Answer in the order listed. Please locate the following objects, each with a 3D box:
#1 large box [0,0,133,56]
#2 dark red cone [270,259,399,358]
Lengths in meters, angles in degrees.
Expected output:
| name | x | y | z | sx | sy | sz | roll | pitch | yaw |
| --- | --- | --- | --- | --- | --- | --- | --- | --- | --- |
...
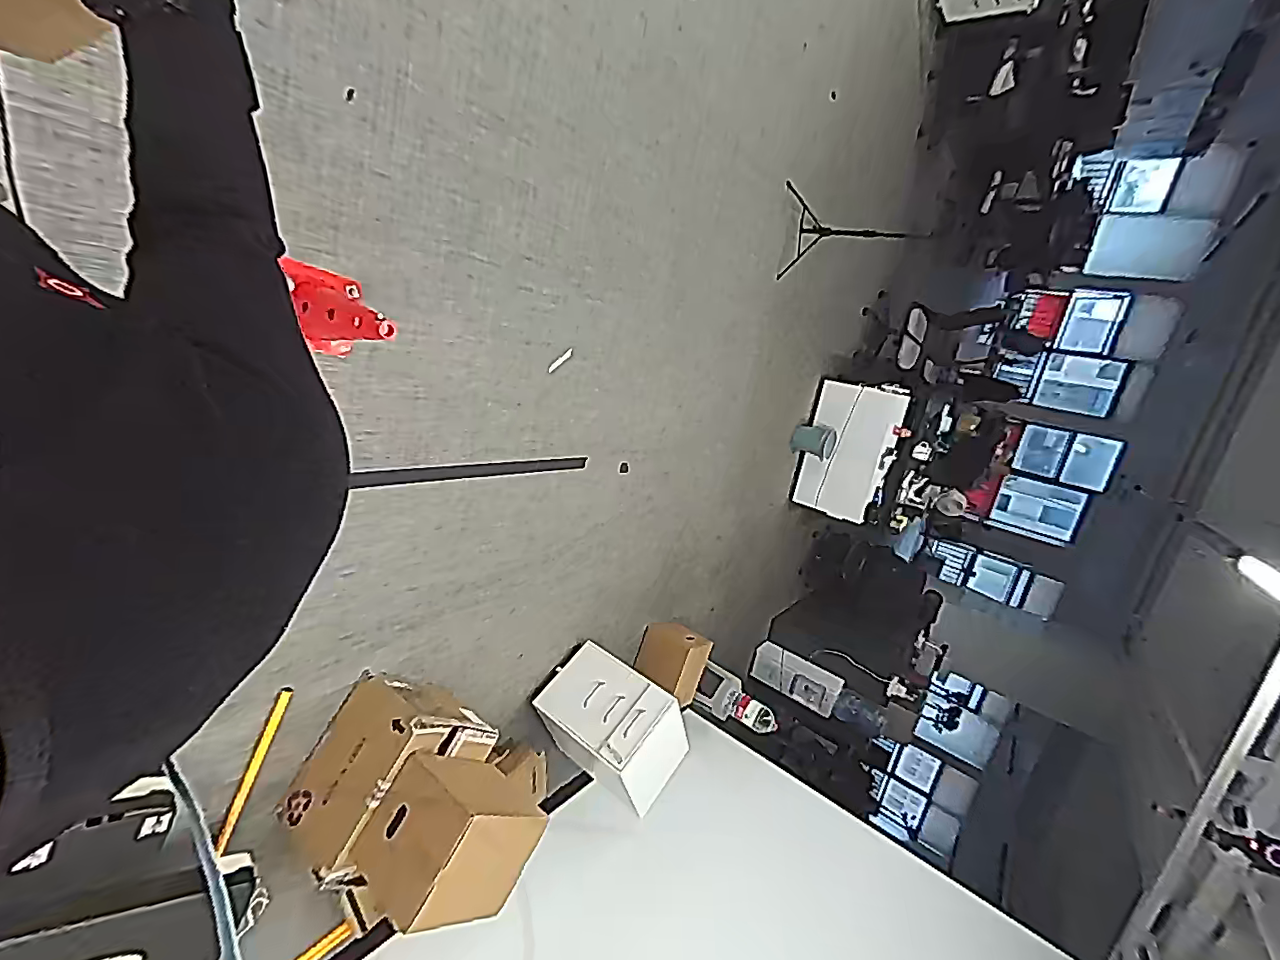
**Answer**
| name | x | y | z | sx | sy | sz | roll | pitch | yaw |
| --- | --- | --- | --- | --- | --- | --- | --- | --- | --- |
| large box | -0.554 | -0.471 | 0.242 | 0.408 | 0.320 | 0.320 | -16 | 121 | -52 |
| dark red cone | -0.659 | -0.361 | 1.226 | 0.201 | 0.394 | 0.202 | 3 | 105 | -54 |
